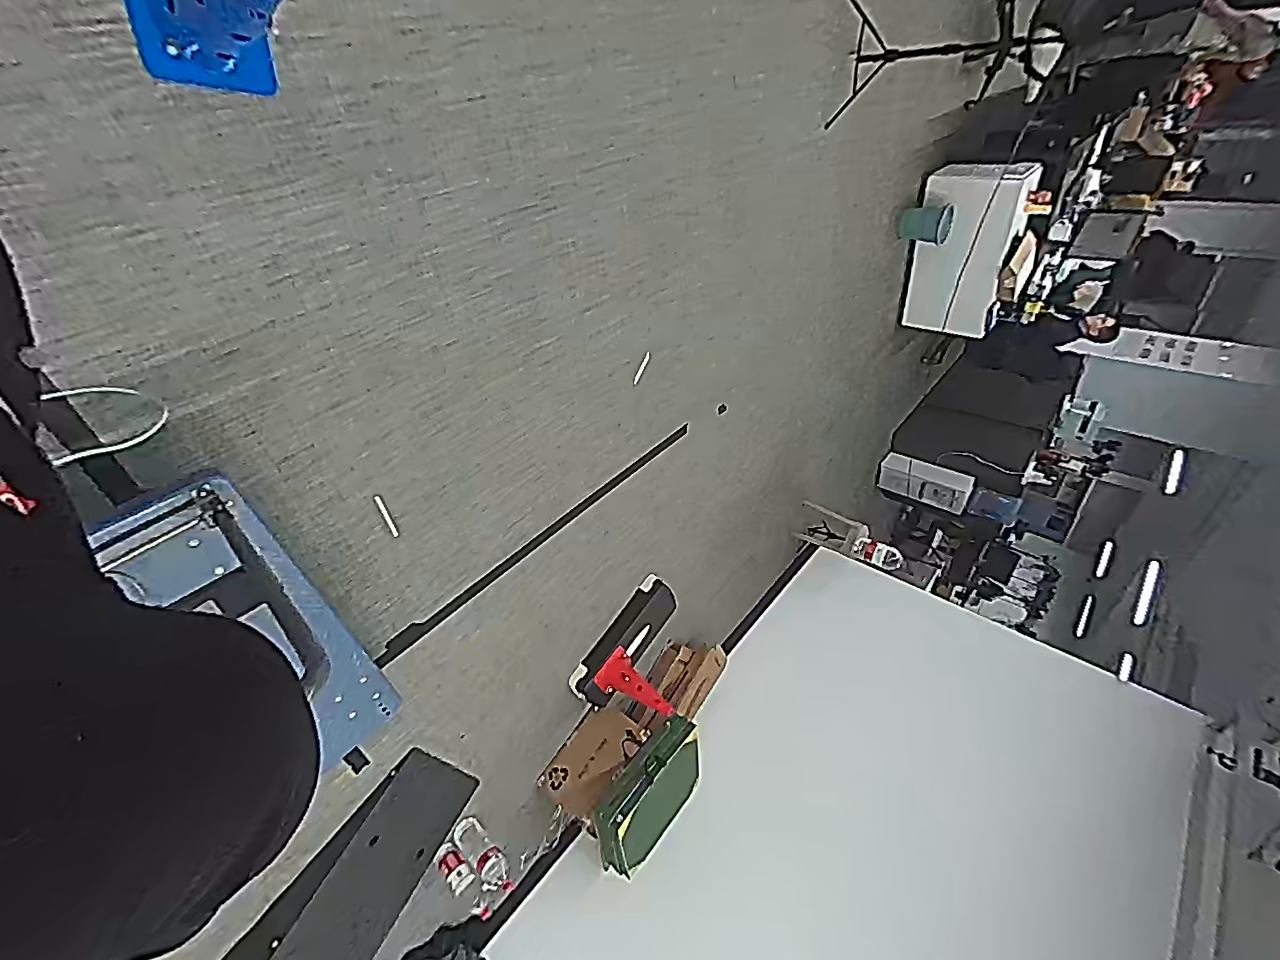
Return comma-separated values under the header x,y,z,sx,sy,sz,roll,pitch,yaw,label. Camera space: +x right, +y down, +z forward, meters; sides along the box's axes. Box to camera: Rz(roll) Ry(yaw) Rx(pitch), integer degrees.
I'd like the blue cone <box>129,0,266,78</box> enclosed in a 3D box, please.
x,y,z,sx,sy,sz,roll,pitch,yaw,label
-0.629,-0.748,0.814,0.193,0.380,0.192,-23,126,-43,blue cone
